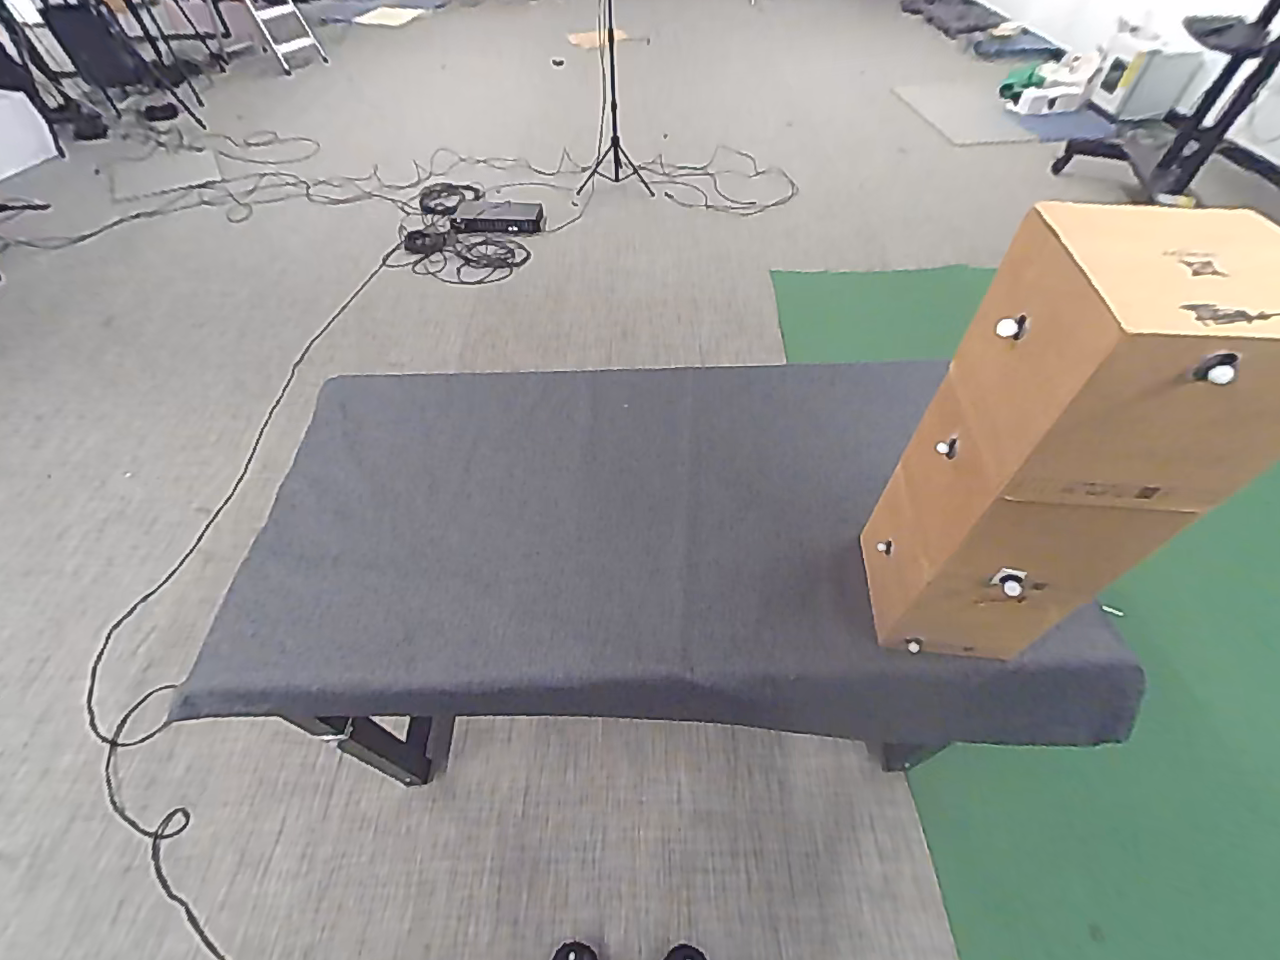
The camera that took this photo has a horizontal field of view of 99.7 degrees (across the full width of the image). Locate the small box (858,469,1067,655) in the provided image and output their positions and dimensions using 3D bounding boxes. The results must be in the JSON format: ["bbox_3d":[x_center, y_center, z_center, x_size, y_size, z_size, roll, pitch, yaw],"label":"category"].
[{"bbox_3d":[0.398,0.109,0.702,0.168,0.176,0.179,5,50,5],"label":"small box"}]

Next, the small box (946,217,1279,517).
[{"bbox_3d":[0.383,-0.093,0.447,0.168,0.176,0.179,4,50,6],"label":"small box"}]

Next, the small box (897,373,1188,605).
[{"bbox_3d":[0.393,0.010,0.575,0.168,0.176,0.179,4,52,6],"label":"small box"}]
